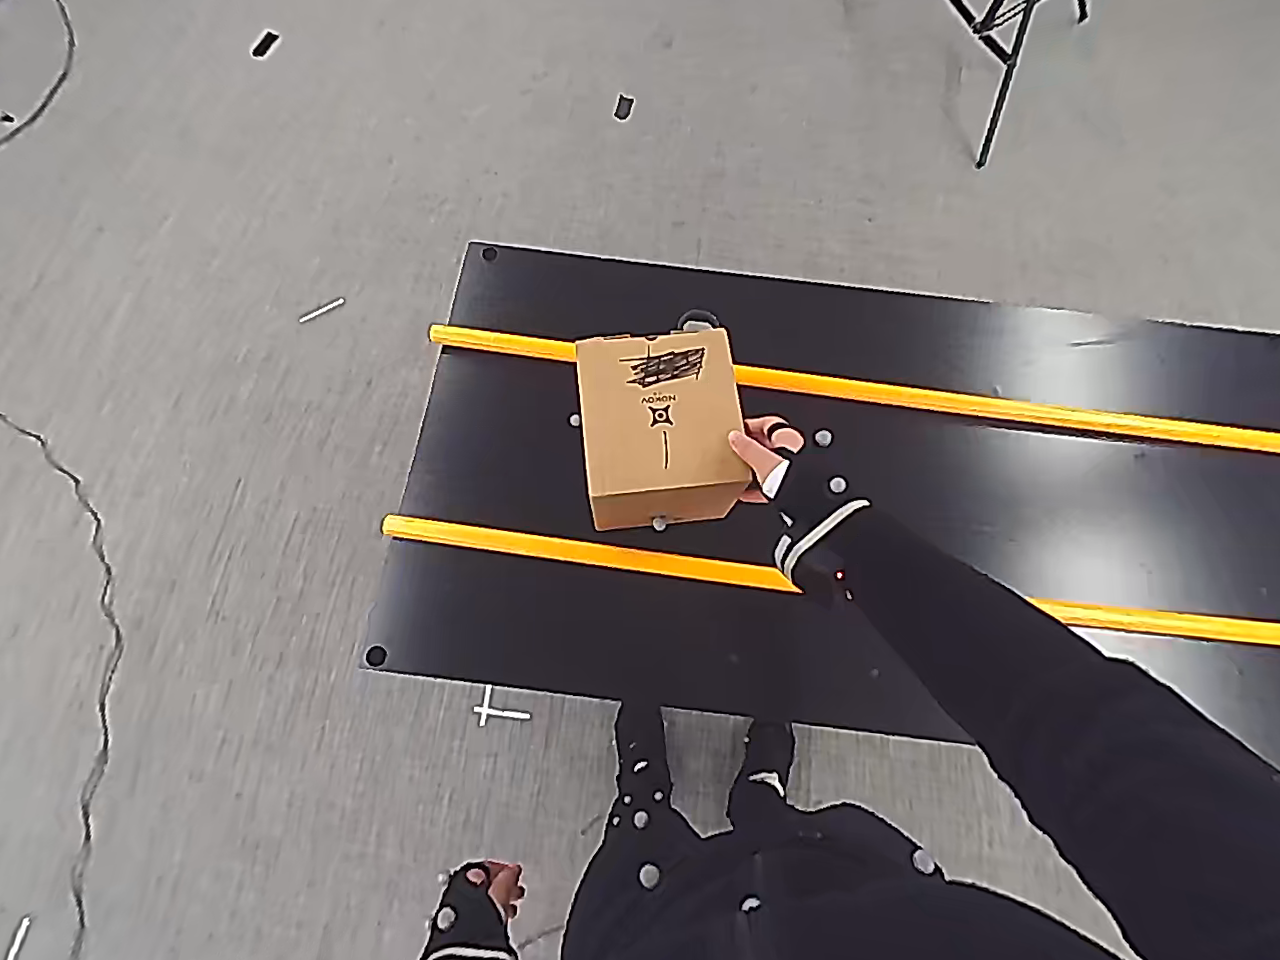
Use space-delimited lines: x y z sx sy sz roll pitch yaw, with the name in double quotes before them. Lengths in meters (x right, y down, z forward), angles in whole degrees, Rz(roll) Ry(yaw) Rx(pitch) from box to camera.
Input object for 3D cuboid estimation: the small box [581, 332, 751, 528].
"small box" 0.021 -0.051 0.640 0.168 0.176 0.179 -6 74 -3
